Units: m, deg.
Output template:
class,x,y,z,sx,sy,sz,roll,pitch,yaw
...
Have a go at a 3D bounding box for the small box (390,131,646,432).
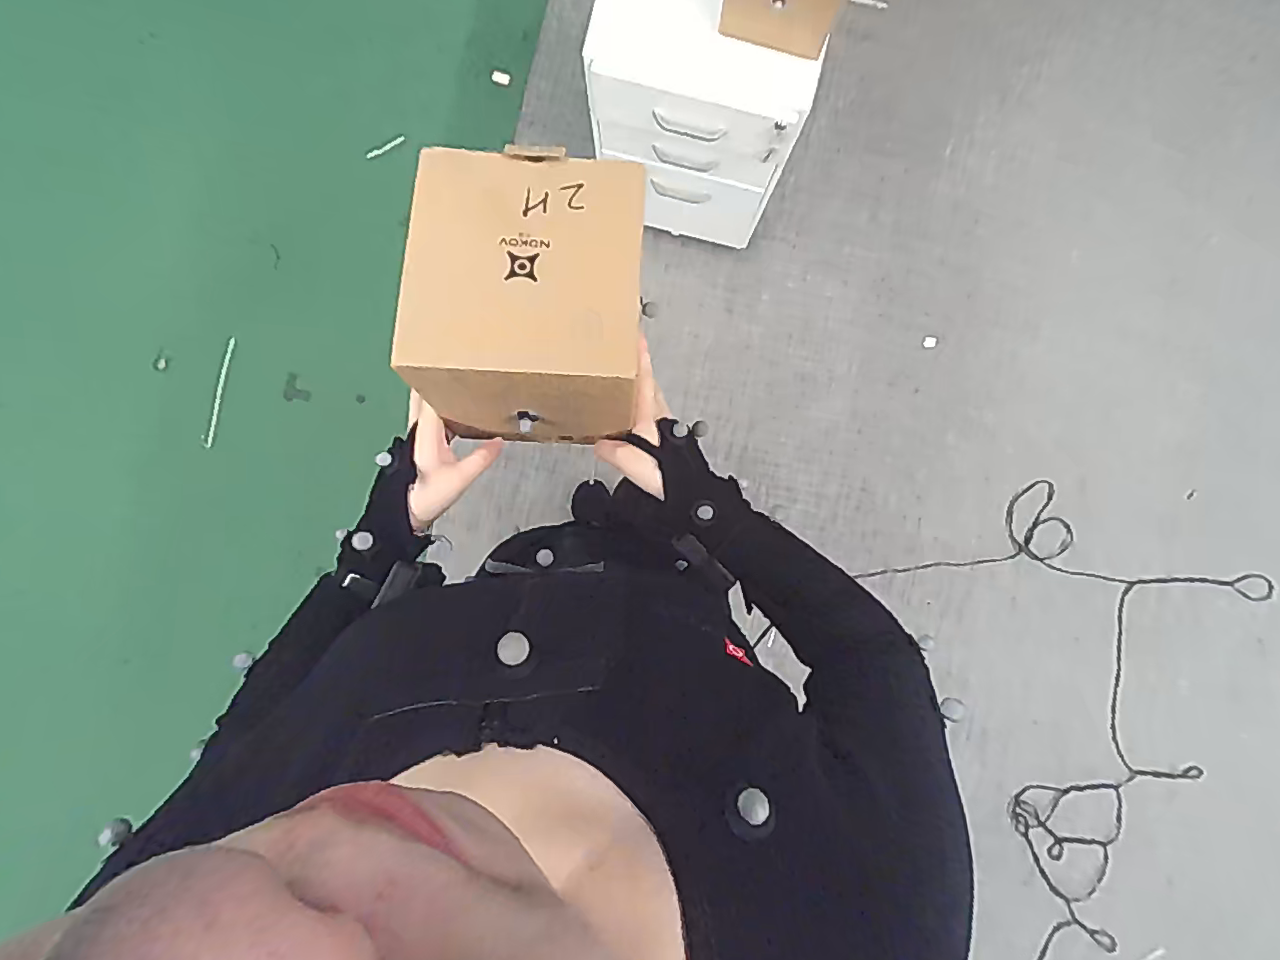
class,x,y,z,sx,sy,sz,roll,pitch,yaw
small box,-0.086,-0.147,0.456,0.168,0.176,0.179,4,78,-3
